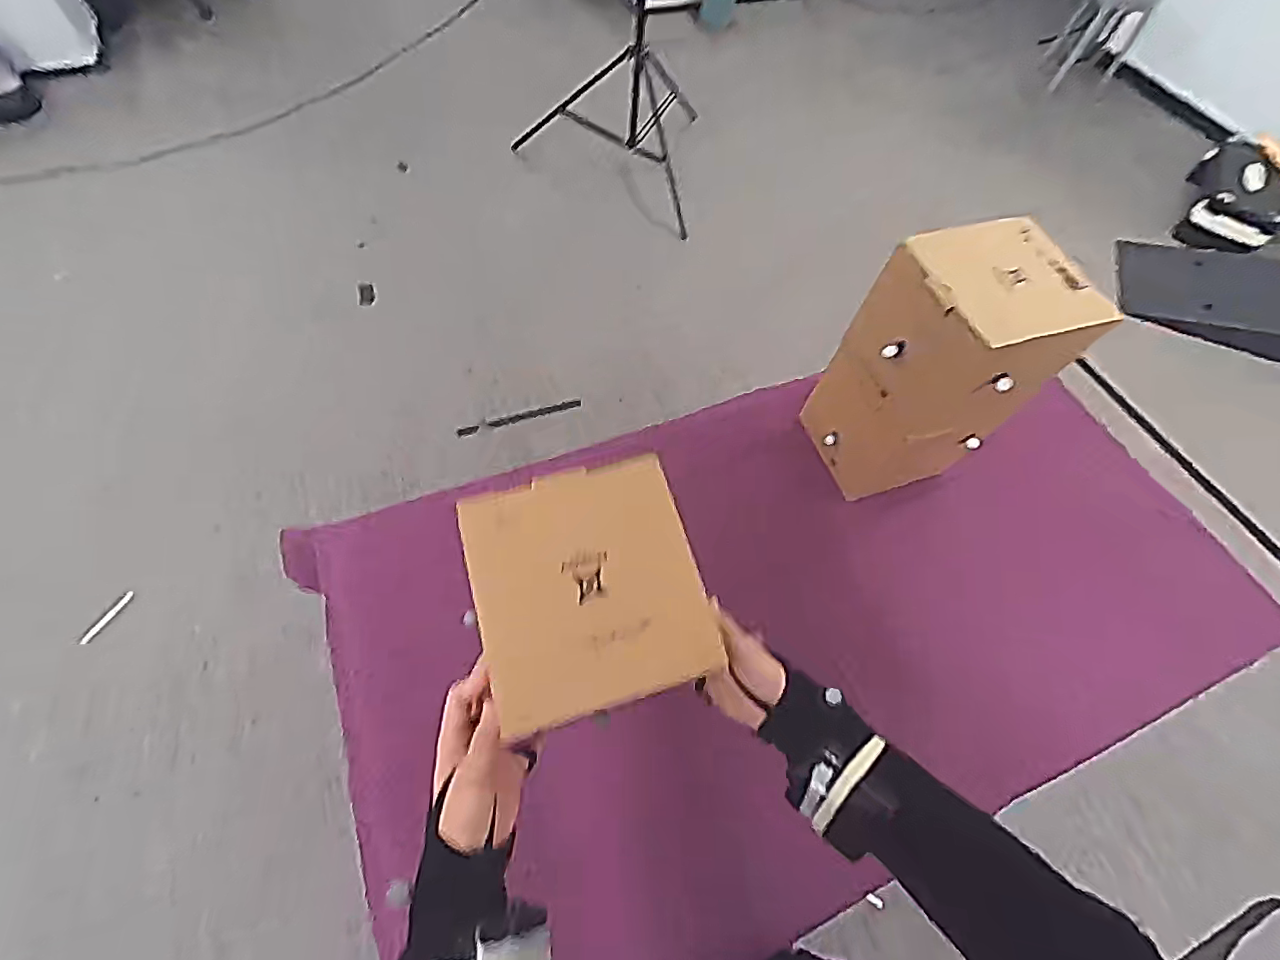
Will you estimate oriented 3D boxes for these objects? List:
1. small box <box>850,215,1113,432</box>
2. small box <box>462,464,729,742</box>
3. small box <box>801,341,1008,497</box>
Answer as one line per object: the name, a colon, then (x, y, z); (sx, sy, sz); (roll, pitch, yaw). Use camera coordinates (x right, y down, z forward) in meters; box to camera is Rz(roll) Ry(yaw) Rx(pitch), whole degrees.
small box: (0.377, -0.177, 0.643); (0.179, 0.176, 0.168); (-15, 65, -12)
small box: (-0.047, 0.111, 0.469); (0.168, 0.176, 0.179); (-13, 69, -13)
small box: (0.367, -0.098, 0.786); (0.179, 0.176, 0.168); (-16, 64, -12)
